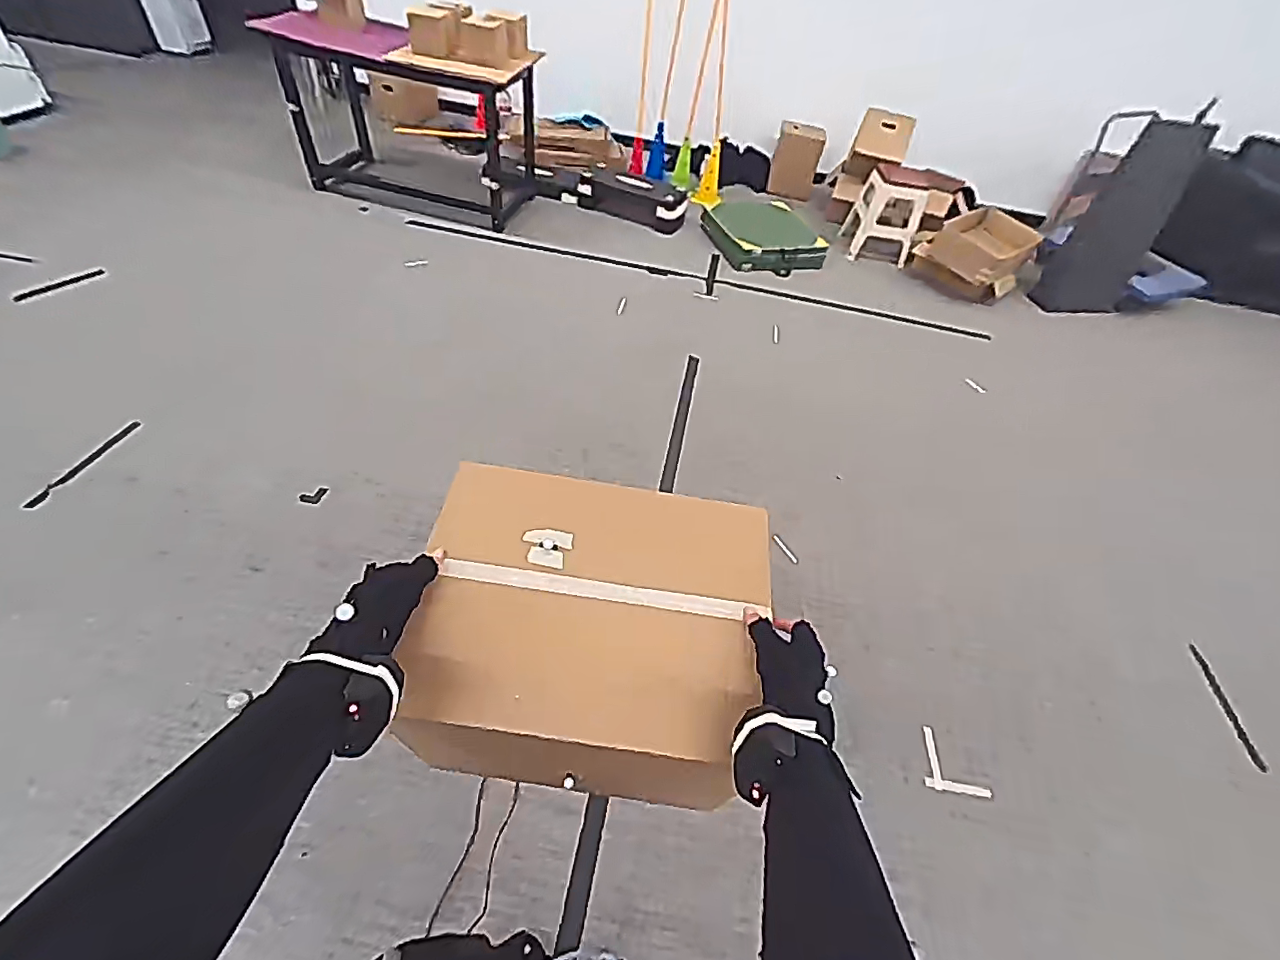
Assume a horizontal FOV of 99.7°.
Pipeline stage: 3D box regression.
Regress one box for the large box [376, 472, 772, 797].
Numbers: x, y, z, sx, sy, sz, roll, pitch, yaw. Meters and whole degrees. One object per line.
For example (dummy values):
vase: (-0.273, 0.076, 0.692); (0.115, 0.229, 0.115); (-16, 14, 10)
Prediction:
large box: (-0.062, 0.224, 0.742); (0.408, 0.320, 0.320); (8, 51, -1)
